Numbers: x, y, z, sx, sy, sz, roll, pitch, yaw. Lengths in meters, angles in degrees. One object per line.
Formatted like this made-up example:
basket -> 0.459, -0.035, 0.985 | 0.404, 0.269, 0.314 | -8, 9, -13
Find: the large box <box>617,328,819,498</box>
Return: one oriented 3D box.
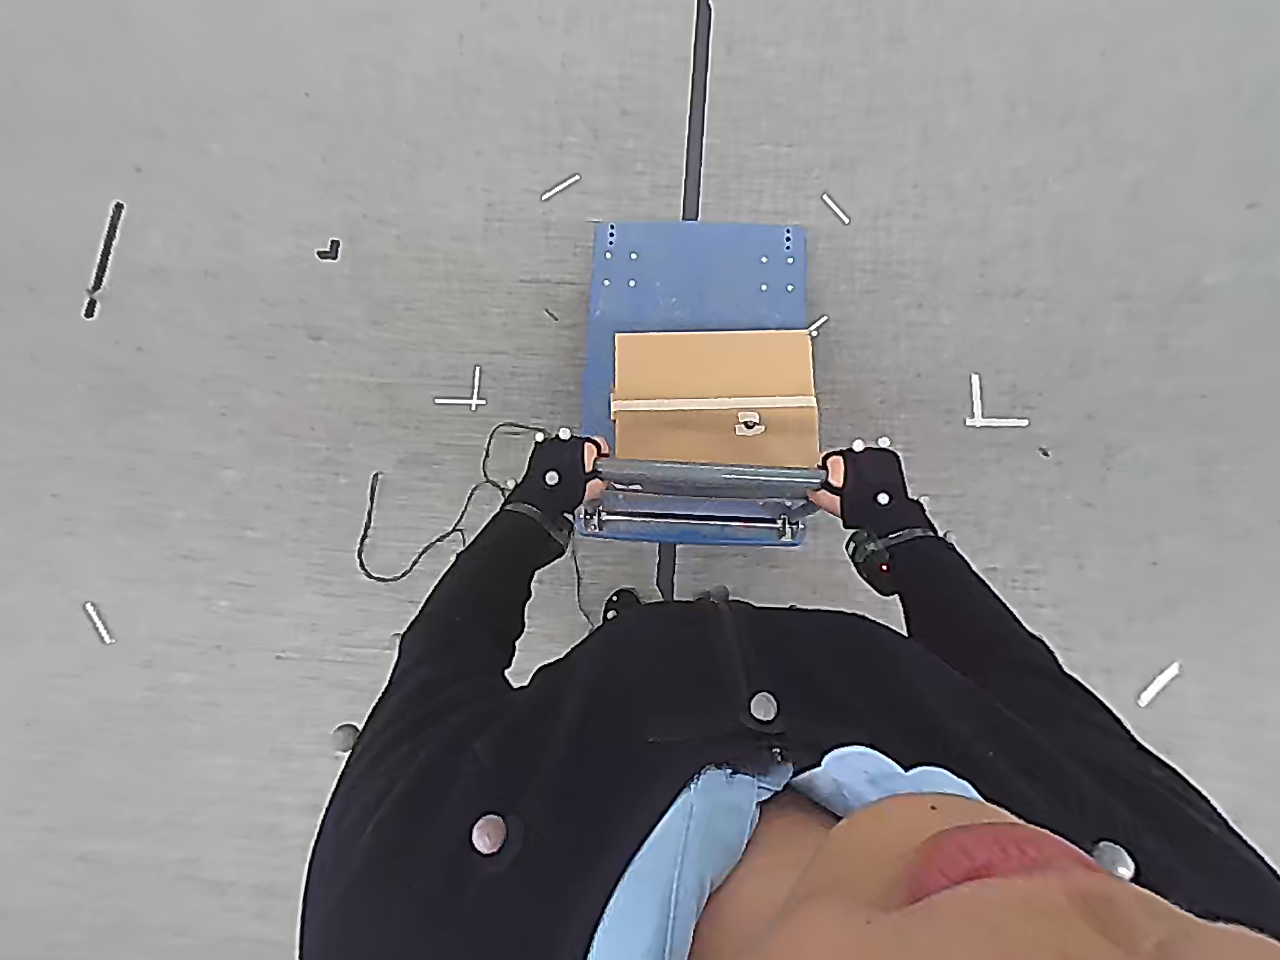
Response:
large box -> 0.156, -0.136, 1.250 | 0.408, 0.320, 0.320 | -1, 81, 1
